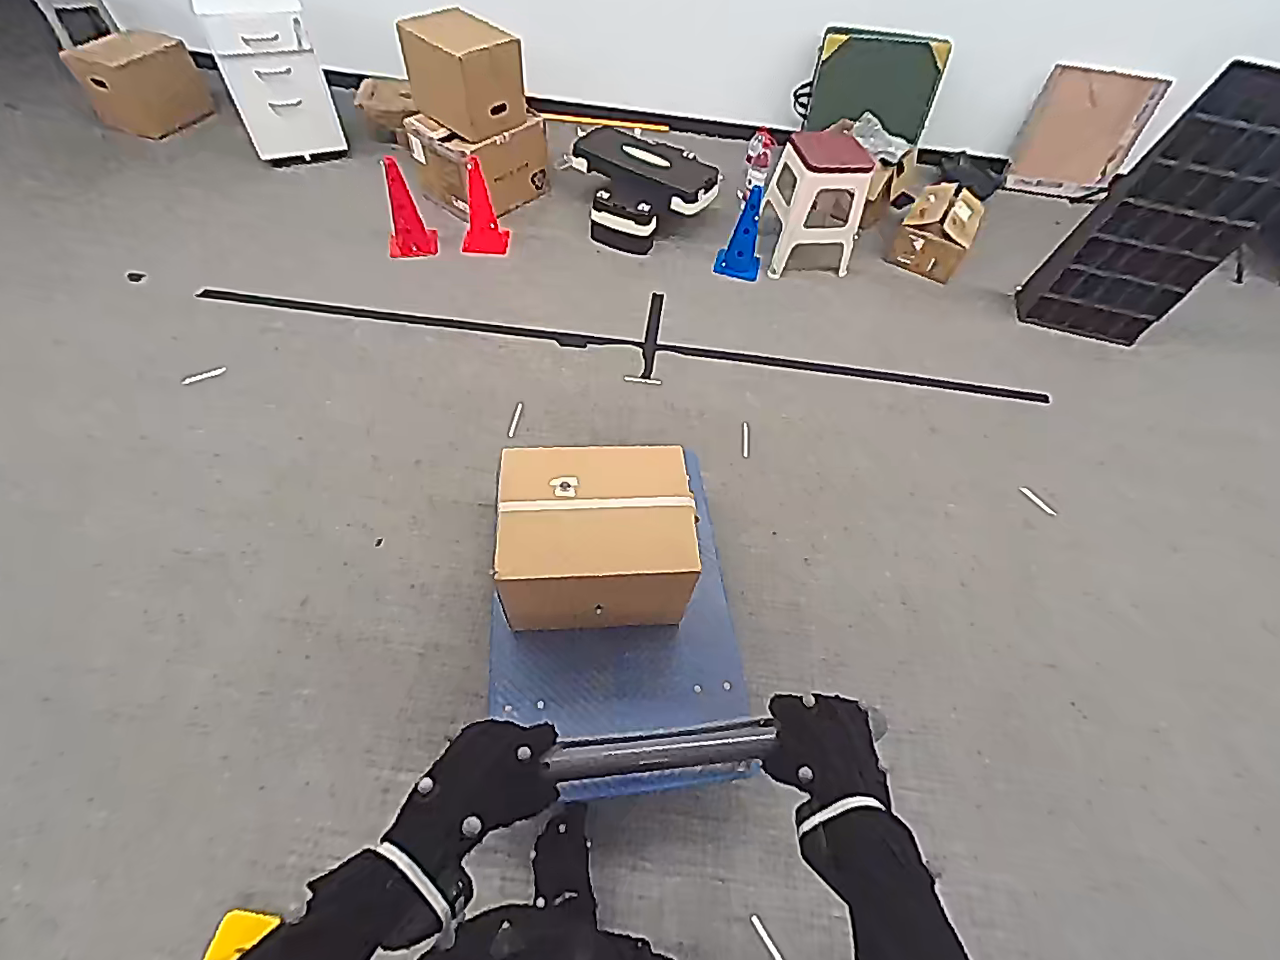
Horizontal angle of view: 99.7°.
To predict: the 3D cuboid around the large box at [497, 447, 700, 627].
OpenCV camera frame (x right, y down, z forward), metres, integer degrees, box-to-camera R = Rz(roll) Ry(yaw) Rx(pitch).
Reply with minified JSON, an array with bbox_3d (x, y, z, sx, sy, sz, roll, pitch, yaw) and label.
[{"bbox_3d":[-0.098,0.139,1.257,0.408,0.320,0.320,-1,57,-6],"label":"large box"}]
